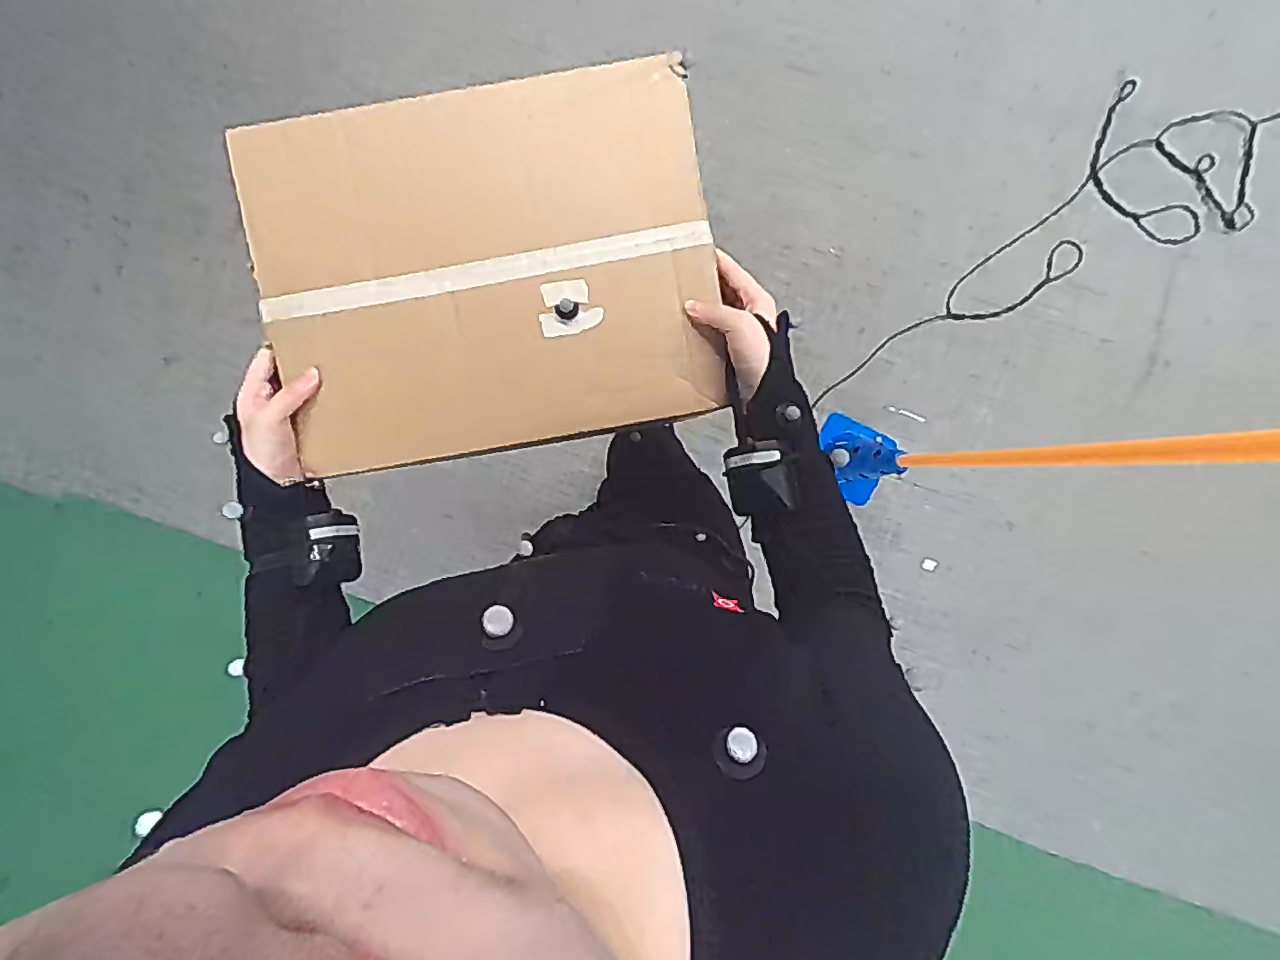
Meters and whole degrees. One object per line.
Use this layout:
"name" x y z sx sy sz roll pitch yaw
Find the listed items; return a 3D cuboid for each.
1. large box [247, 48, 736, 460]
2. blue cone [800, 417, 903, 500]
"large box" -0.135 -0.214 0.640 0.408 0.320 0.320 -10 96 -1
"blue cone" 0.540 -0.048 1.294 0.193 0.380 0.192 28 95 2
